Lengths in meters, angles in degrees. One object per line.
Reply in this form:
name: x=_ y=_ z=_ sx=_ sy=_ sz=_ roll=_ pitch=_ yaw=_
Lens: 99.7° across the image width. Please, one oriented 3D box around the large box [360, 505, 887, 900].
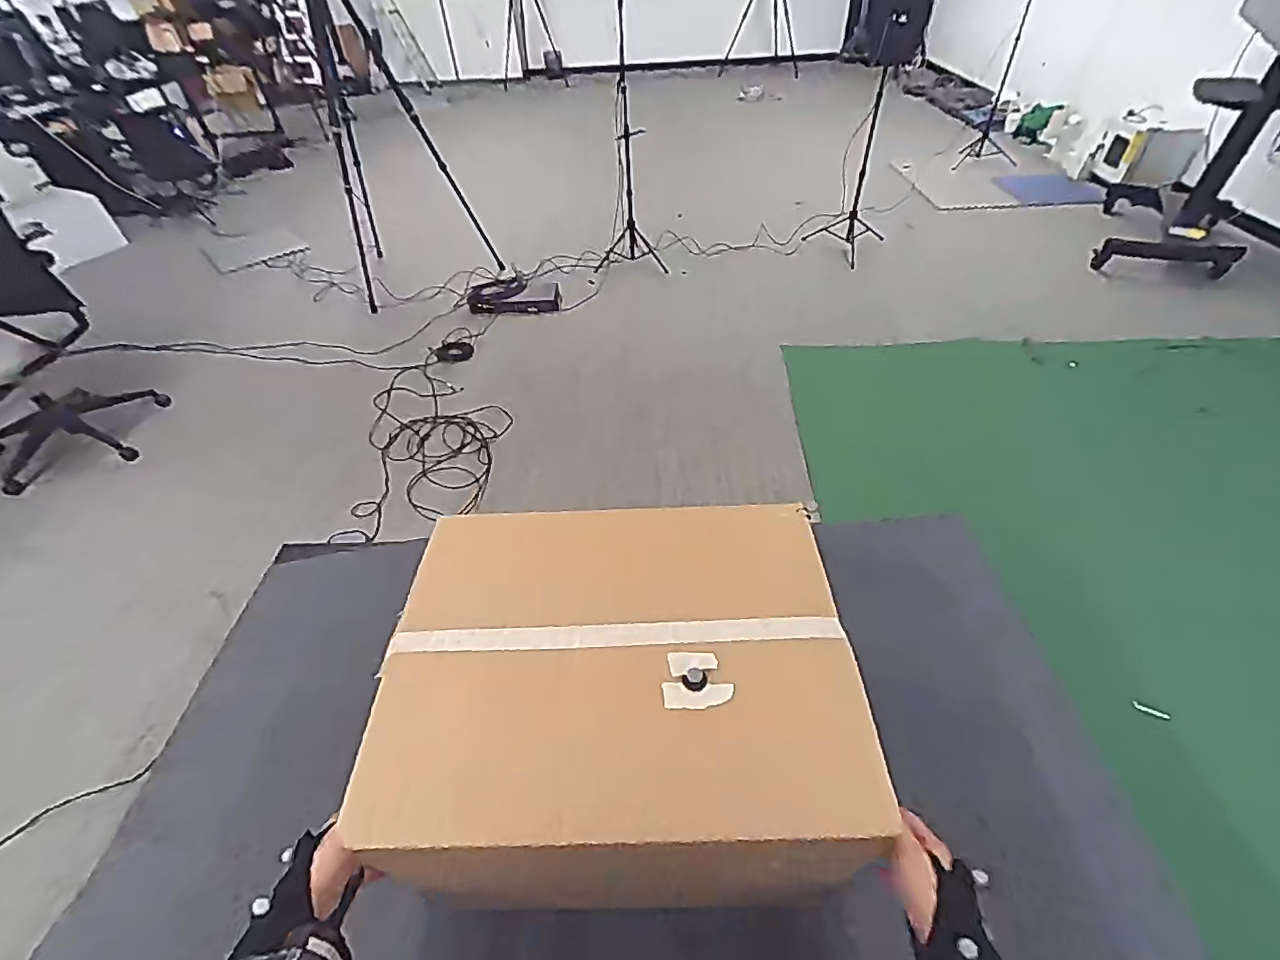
large box: x=-0.013 y=0.250 z=0.608 sx=0.408 sy=0.320 sz=0.320 roll=-2 pitch=46 yaw=1
